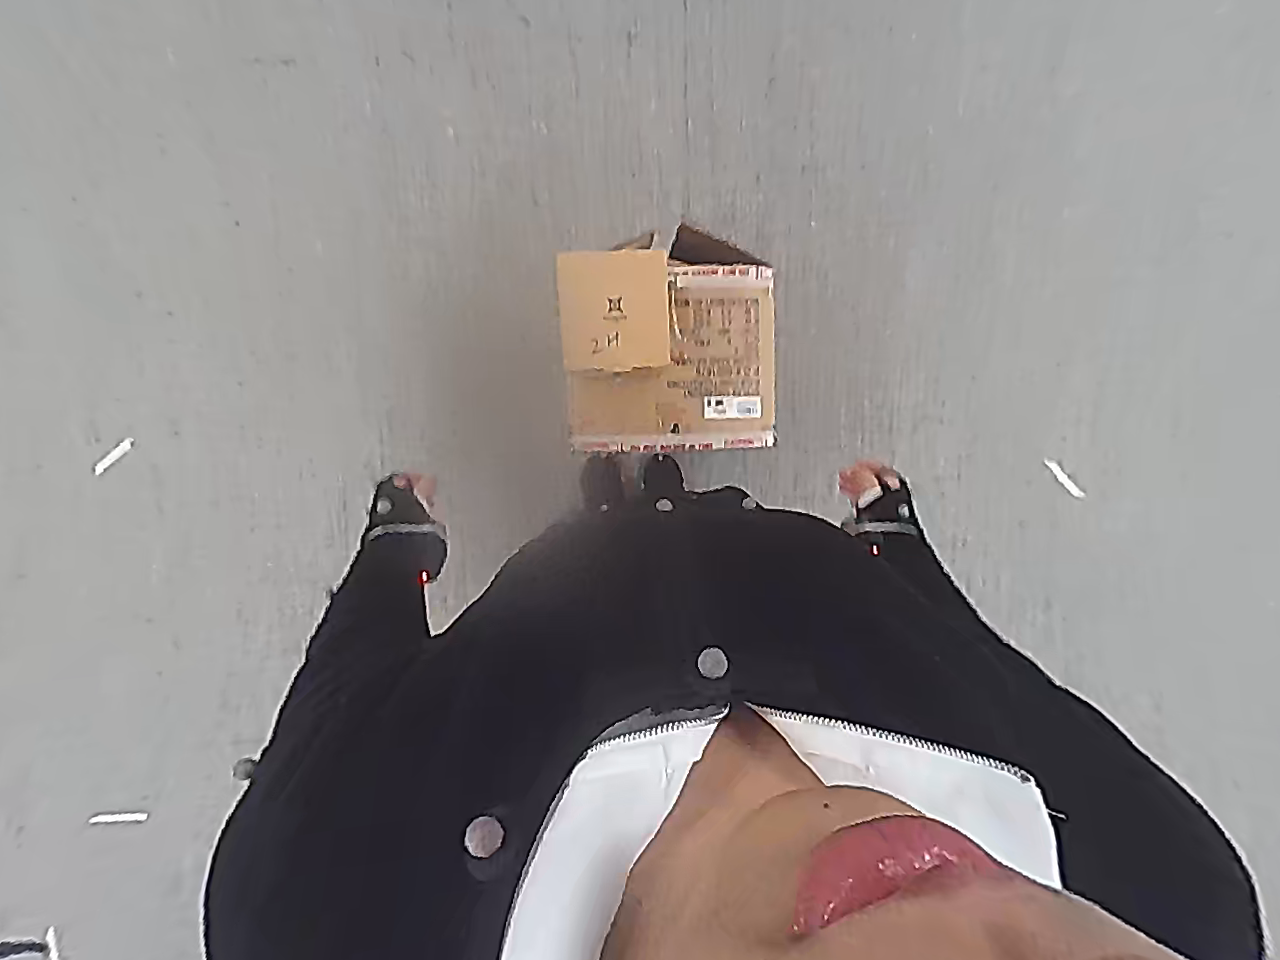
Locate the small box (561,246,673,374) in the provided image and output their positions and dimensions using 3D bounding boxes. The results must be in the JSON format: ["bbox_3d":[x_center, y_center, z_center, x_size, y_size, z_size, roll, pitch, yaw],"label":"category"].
[{"bbox_3d":[-0.036,-0.271,0.894,0.168,0.176,0.179,-3,99,0],"label":"small box"}]
